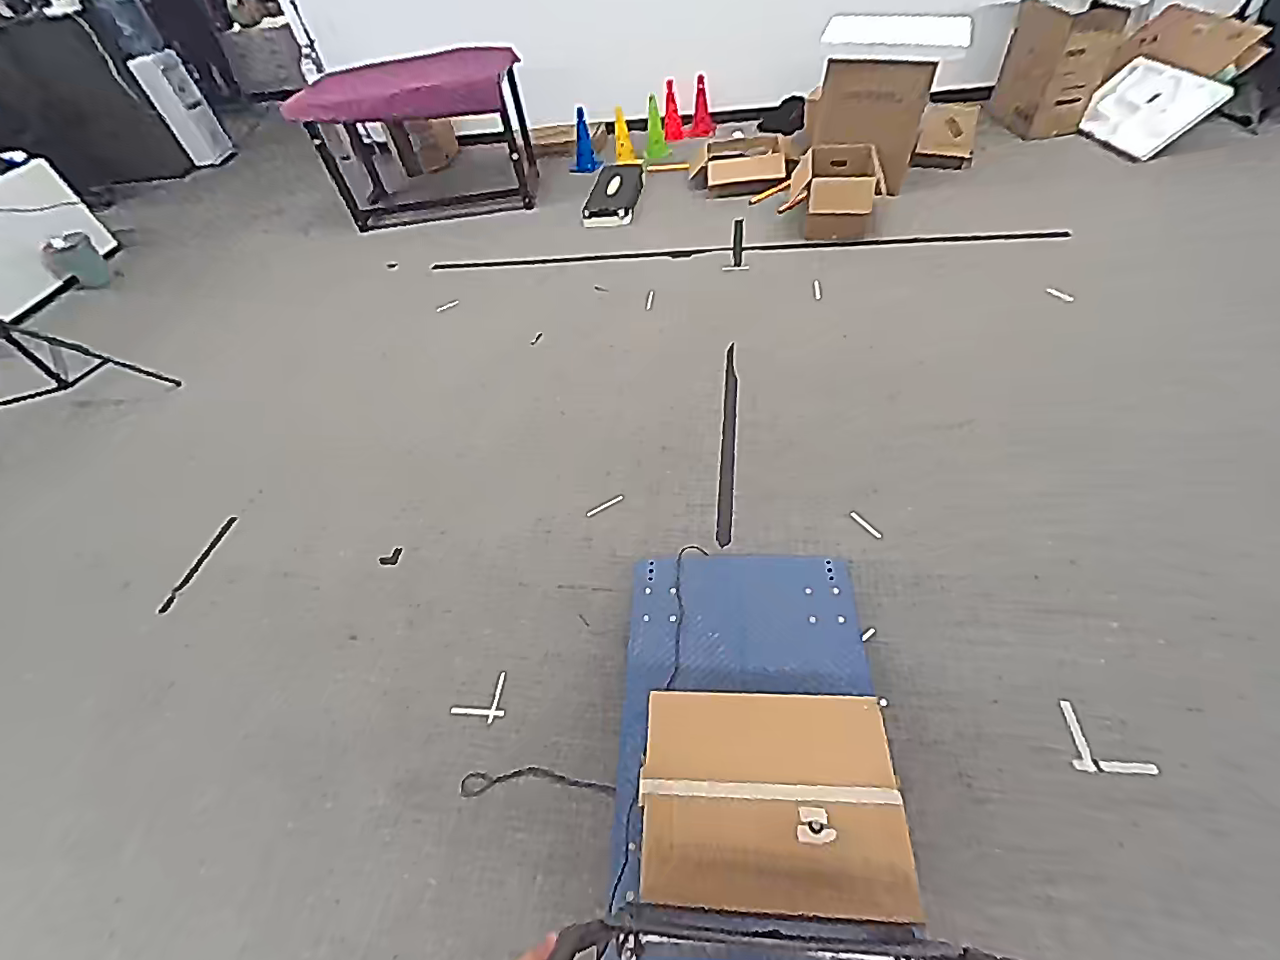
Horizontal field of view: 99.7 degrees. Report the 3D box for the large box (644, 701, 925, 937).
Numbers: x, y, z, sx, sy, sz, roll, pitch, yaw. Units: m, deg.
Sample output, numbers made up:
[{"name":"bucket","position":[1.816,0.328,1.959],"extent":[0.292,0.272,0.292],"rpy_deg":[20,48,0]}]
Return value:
[{"name":"large box","position":[0.222,0.611,0.976],"extent":[0.408,0.320,0.320],"rpy_deg":[-1,50,7]}]
